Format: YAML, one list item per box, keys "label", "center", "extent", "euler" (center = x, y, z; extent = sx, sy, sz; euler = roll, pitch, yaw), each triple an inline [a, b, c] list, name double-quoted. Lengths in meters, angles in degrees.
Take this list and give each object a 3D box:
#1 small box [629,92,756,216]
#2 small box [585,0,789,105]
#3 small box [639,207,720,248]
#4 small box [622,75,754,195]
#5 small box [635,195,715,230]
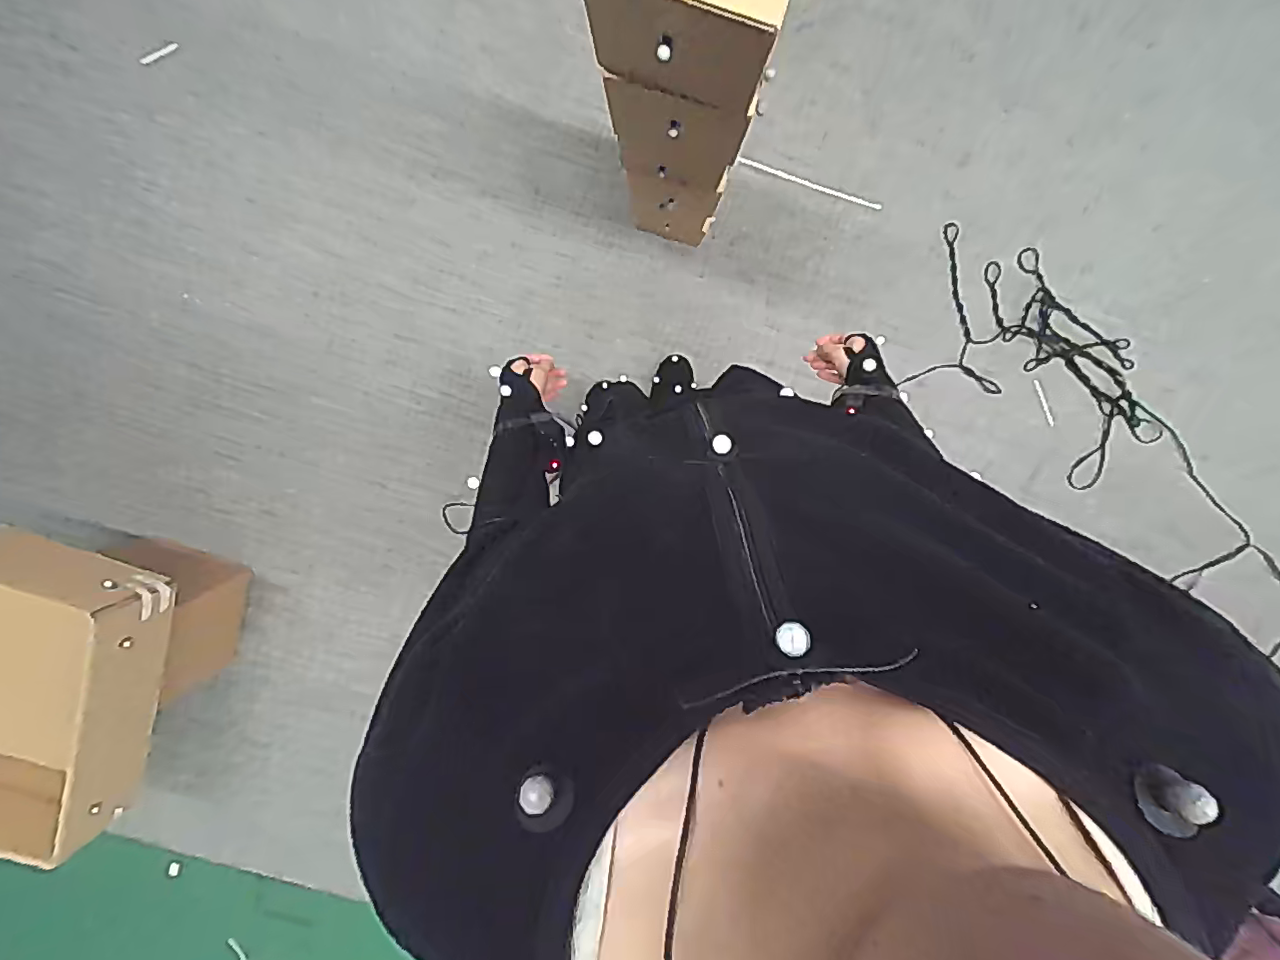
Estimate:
- label: "small box"
  center: [0.087, -0.595, 0.971]
  extent: [0.179, 0.176, 0.168]
  euler: [15, 102, -2]
- label: "small box"
  center: [0.058, -0.483, 0.494]
  extent: [0.179, 0.176, 0.168]
  euler: [18, 103, 0]
- label: "small box"
  center: [0.104, -0.672, 1.289]
  extent: [0.179, 0.176, 0.168]
  euler: [17, 101, -3]
- label: "small box"
  center: [0.076, -0.562, 0.812]
  extent: [0.168, 0.176, 0.179]
  euler: [15, 103, -1]
- label: "small box"
  center: [0.091, -0.643, 1.128]
  extent: [0.179, 0.176, 0.168]
  euler: [17, 102, -2]
